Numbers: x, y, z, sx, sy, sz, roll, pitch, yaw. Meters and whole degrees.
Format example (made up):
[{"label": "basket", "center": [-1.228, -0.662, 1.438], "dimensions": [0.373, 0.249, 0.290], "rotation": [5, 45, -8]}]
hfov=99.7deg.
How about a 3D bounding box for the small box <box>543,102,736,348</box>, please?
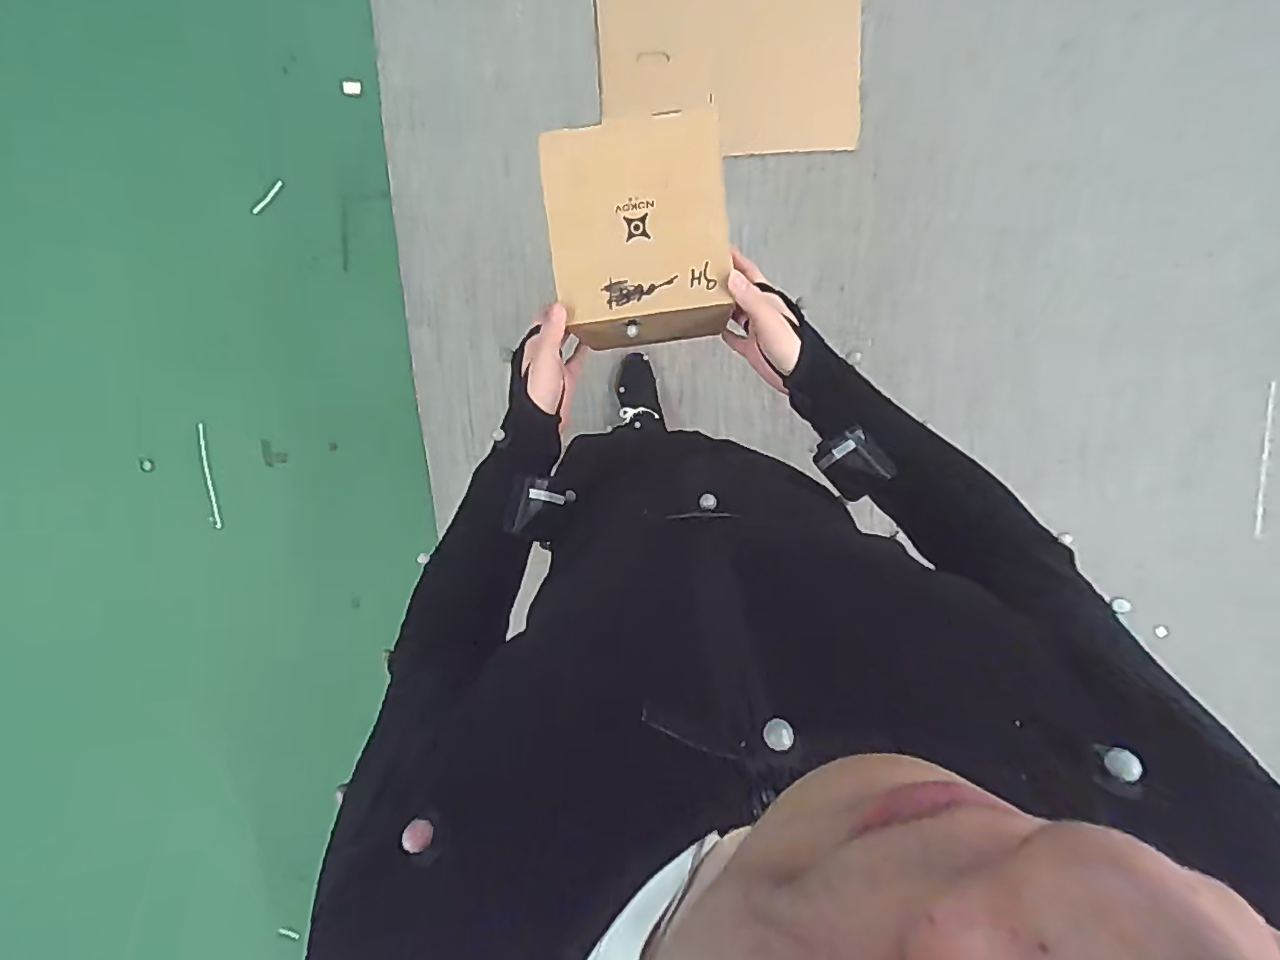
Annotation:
[{"label": "small box", "center": [0.005, -0.246, 0.565], "dimensions": [0.168, 0.176, 0.179], "rotation": [-5, 94, 5]}]
